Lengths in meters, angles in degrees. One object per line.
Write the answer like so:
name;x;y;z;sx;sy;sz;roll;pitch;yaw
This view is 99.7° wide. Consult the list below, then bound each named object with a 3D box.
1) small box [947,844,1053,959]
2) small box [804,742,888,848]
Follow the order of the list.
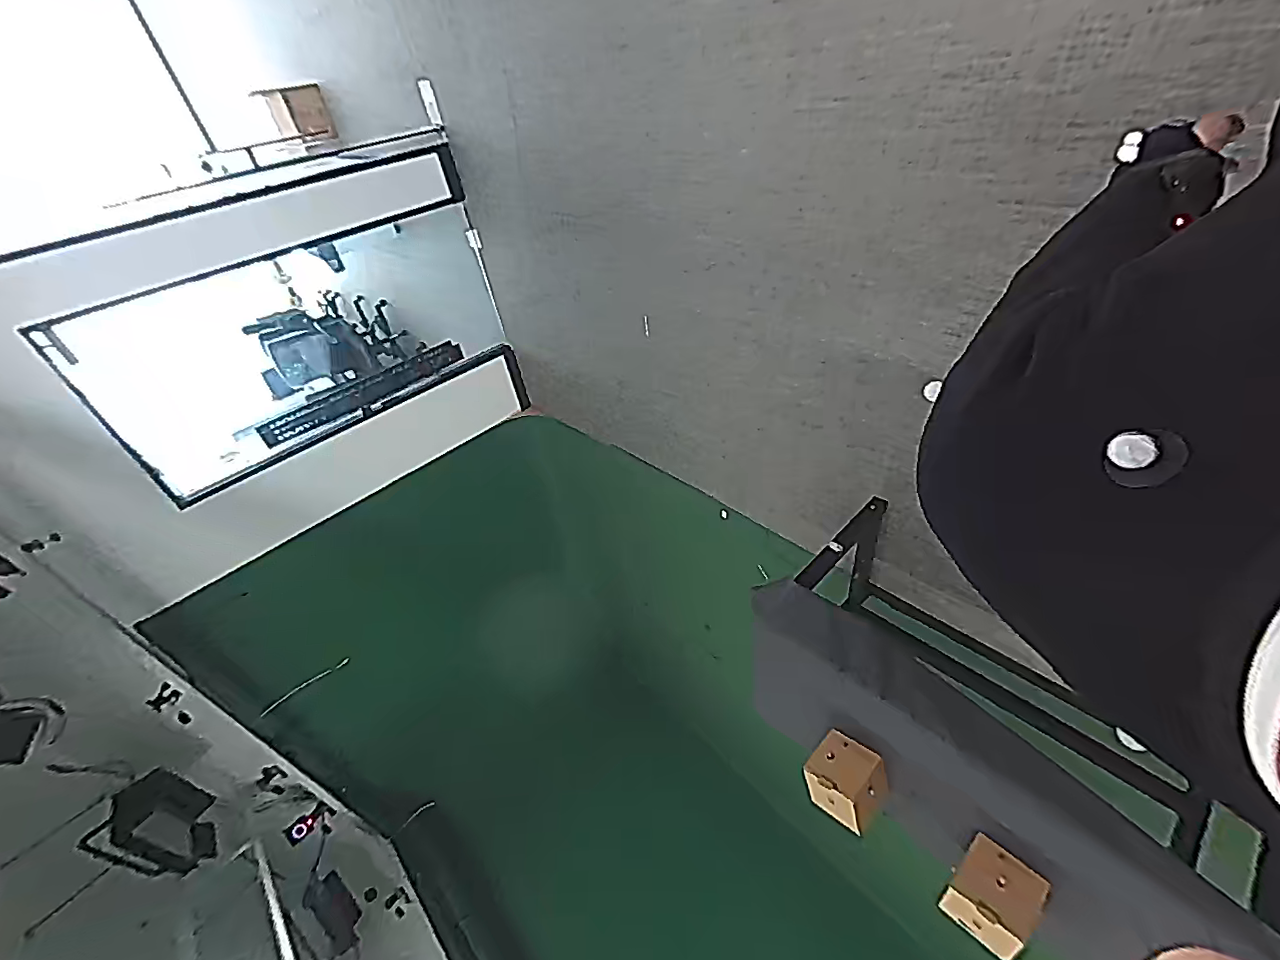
small box;0.899;1.064;1.352;0.168;0.176;0.179;25;140;42
small box;0.613;0.924;1.601;0.168;0.176;0.179;20;136;51
